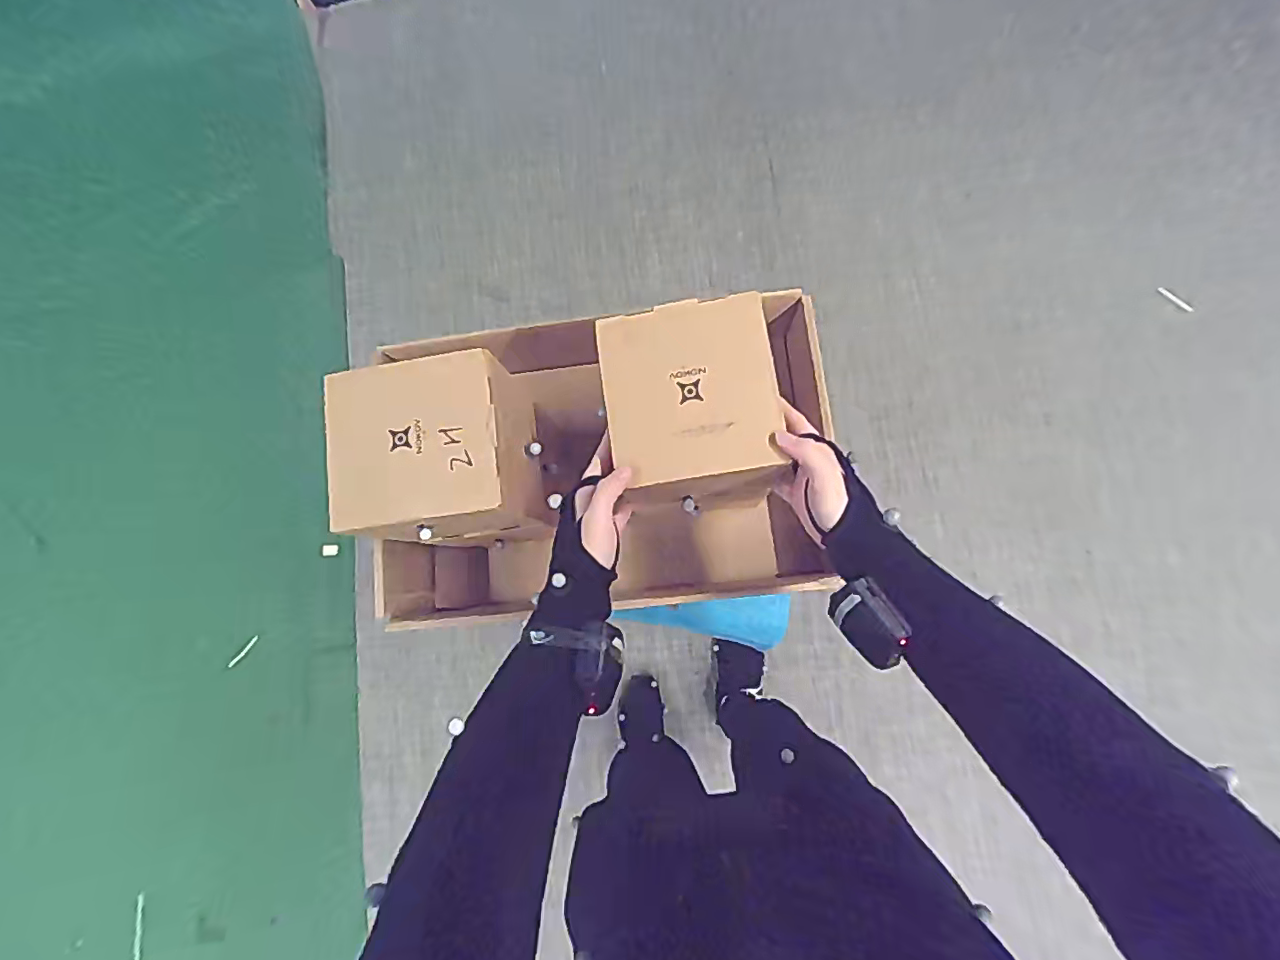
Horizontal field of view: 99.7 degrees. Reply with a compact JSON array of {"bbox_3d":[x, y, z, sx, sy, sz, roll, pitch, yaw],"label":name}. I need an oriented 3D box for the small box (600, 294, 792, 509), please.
[{"bbox_3d":[0.057,-0.072,0.592,0.168,0.176,0.179,-9,80,5],"label":"small box"}]

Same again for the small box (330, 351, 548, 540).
[{"bbox_3d":[-0.217,-0.026,0.615,0.179,0.176,0.168,-8,80,4],"label":"small box"}]
